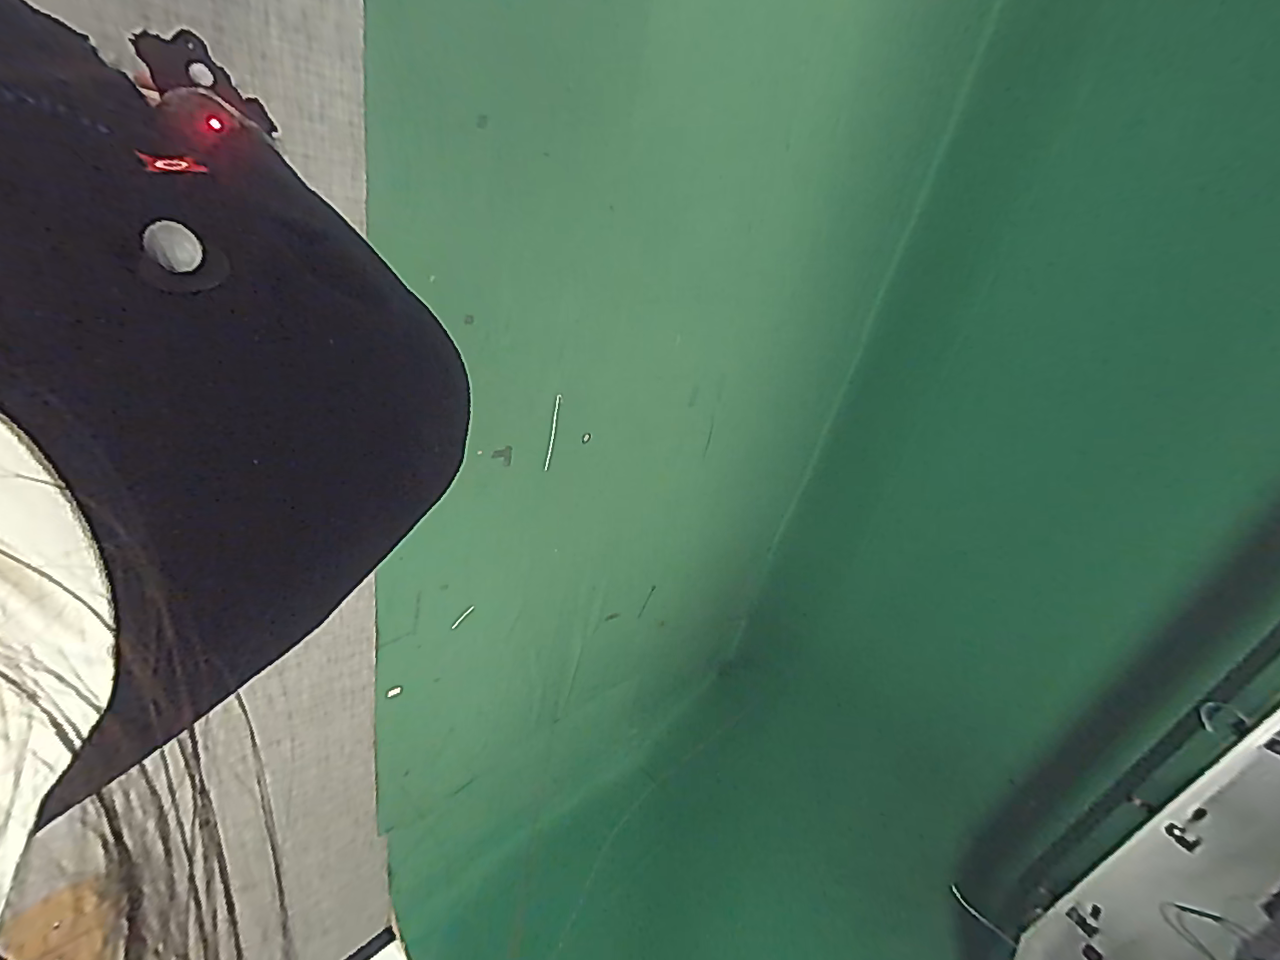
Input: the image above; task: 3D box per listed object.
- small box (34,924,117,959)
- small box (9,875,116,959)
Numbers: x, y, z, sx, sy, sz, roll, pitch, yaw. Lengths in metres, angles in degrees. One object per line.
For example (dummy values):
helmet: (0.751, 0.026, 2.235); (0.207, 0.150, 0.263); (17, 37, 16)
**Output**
small box: (-1.500, 1.337, 1.417); (0.179, 0.176, 0.168); (-14, 129, -45)
small box: (-1.615, 1.270, 1.511); (0.179, 0.176, 0.168); (-18, 131, -45)
